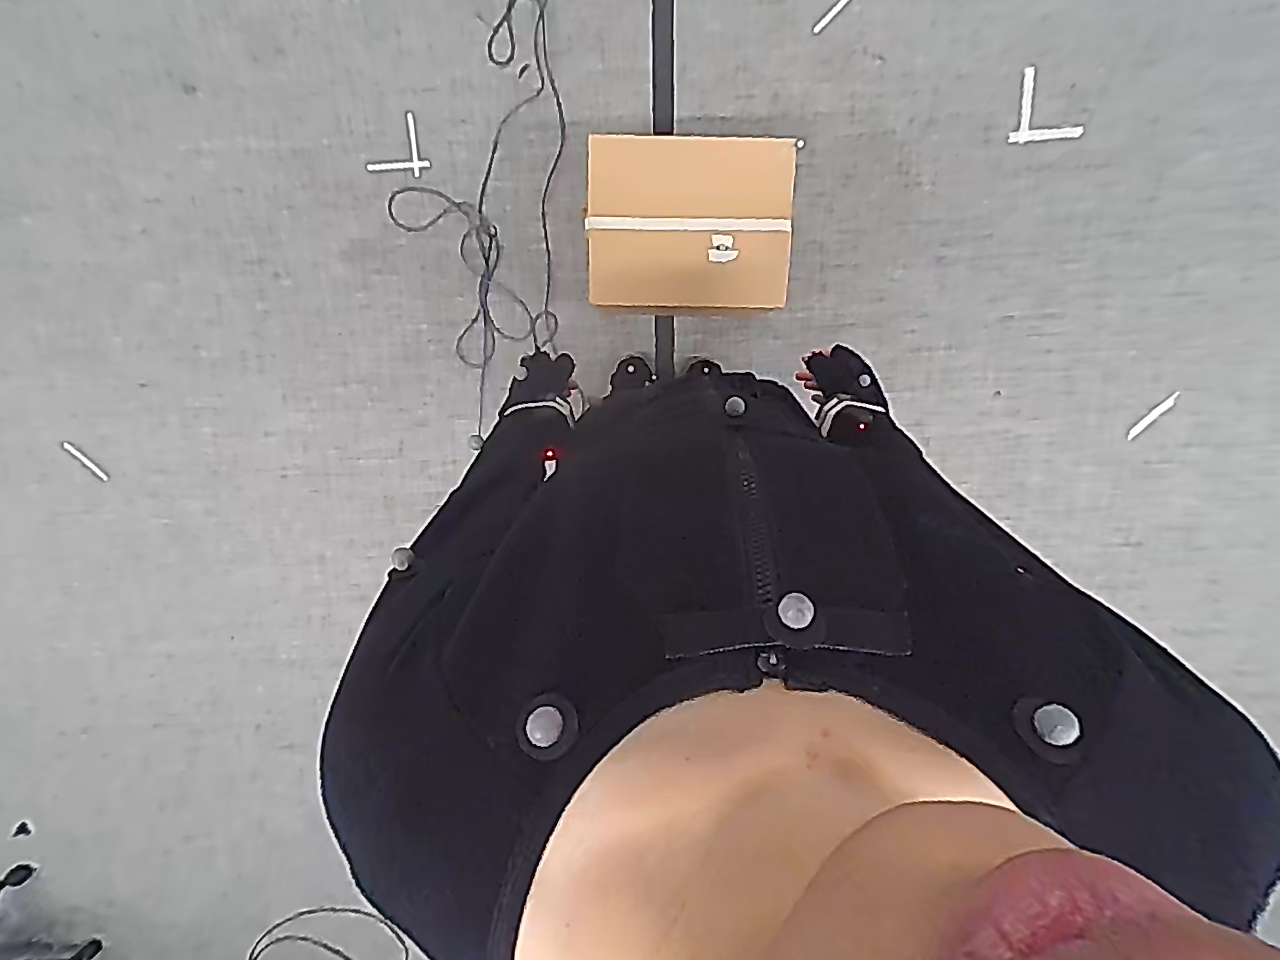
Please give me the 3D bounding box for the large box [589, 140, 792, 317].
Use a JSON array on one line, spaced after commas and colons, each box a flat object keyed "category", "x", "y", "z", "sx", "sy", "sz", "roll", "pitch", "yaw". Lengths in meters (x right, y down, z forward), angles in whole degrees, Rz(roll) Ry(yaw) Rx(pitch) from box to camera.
[{"category": "large box", "x": 0.097, "y": -0.545, "z": 1.230, "sx": 0.408, "sy": 0.320, "sz": 0.320, "roll": 1, "pitch": 104, "yaw": -1}]
